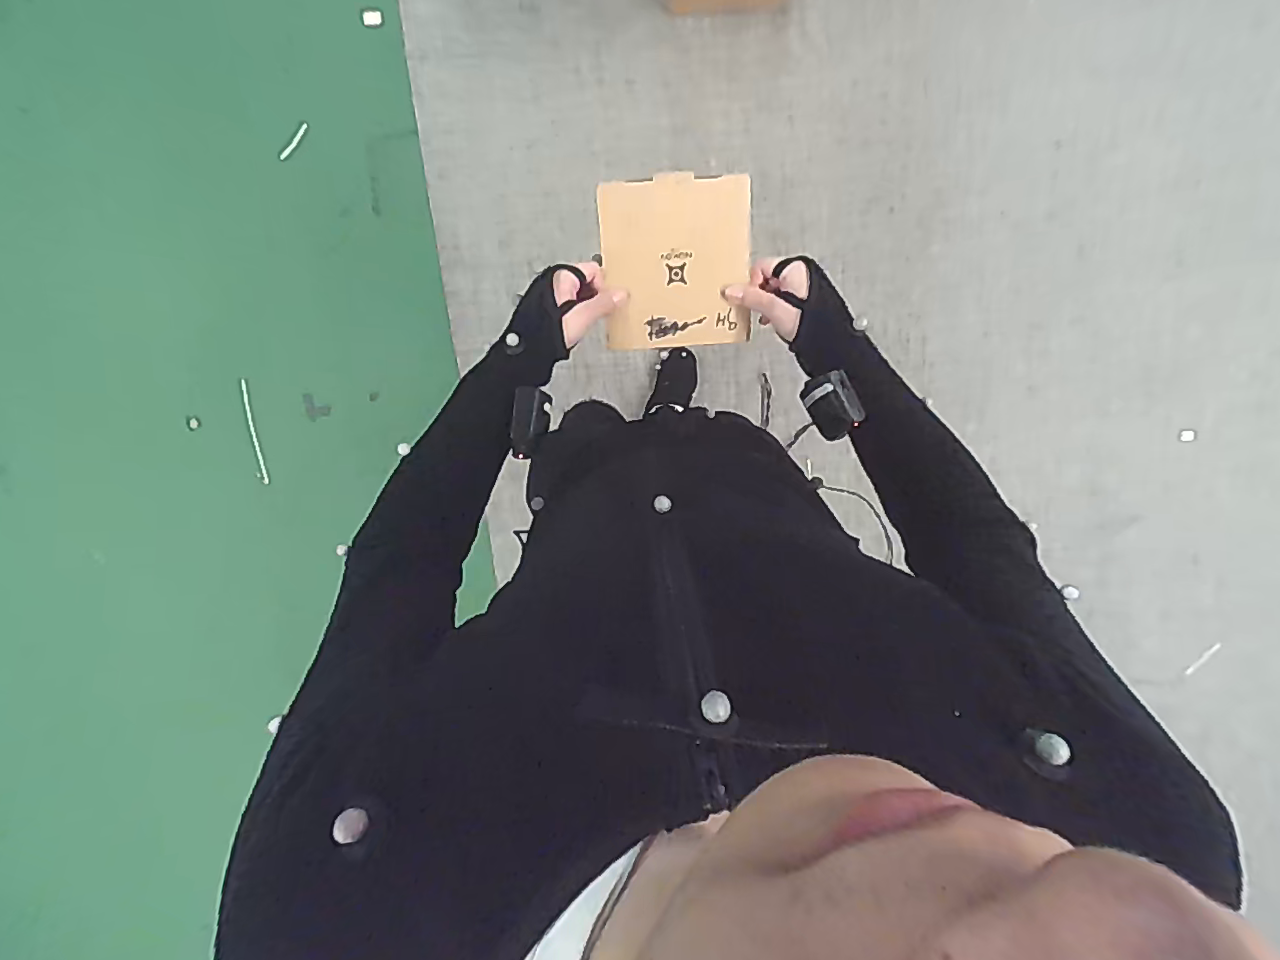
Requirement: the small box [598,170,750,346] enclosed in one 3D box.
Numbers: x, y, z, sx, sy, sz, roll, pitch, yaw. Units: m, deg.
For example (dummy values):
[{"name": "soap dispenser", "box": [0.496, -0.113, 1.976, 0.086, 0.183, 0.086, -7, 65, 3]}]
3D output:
[{"name": "small box", "box": [0.035, -0.263, 0.669, 0.168, 0.176, 0.179, -4, 108, -1]}]
